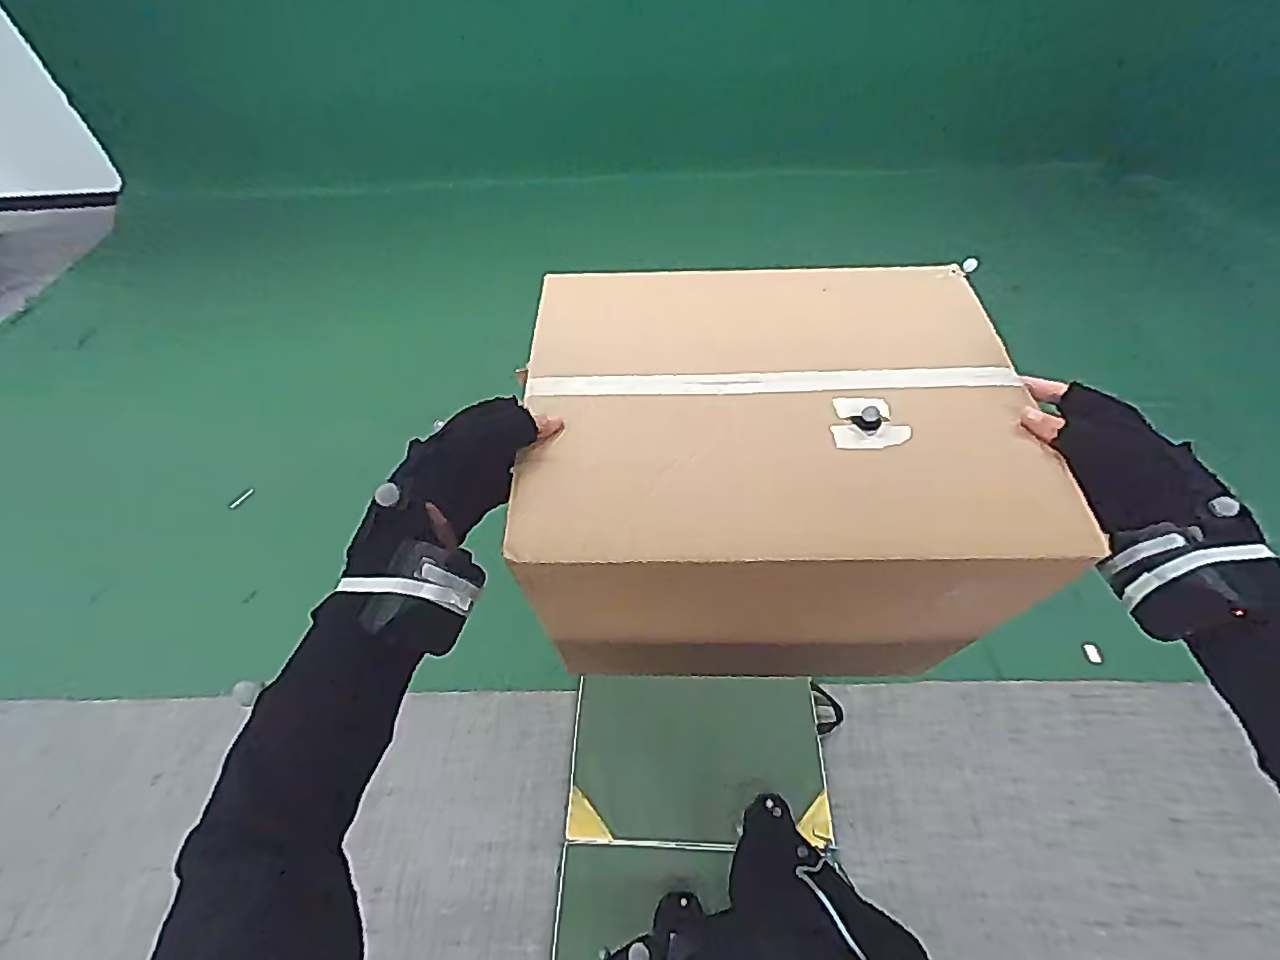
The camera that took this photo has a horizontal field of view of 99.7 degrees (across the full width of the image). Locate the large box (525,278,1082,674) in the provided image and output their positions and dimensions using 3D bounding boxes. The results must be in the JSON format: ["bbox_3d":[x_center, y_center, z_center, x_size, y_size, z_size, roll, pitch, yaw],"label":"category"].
[{"bbox_3d":[0.113,0.009,0.584,0.408,0.320,0.320,-1,56,0],"label":"large box"}]
